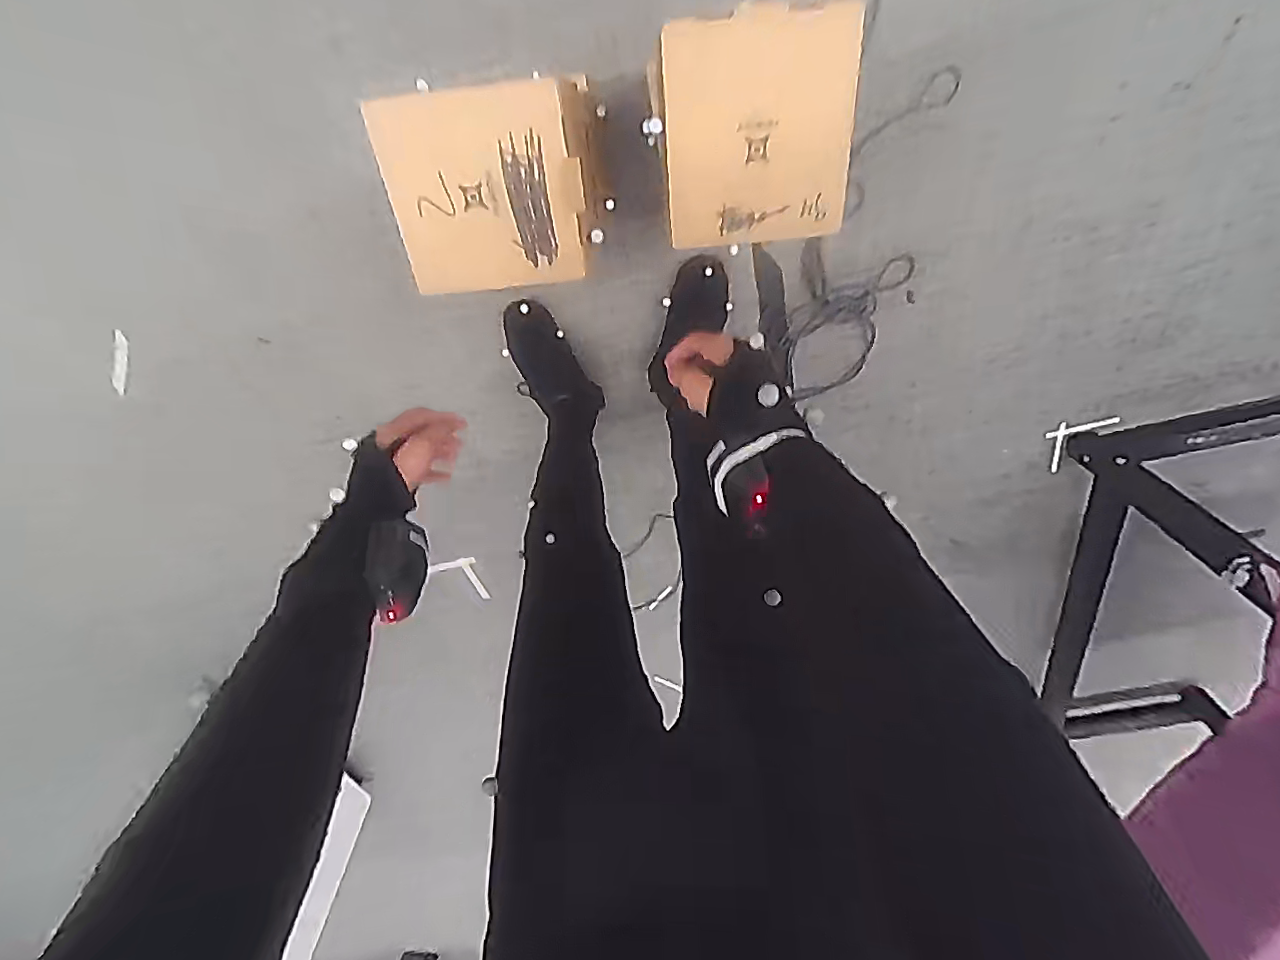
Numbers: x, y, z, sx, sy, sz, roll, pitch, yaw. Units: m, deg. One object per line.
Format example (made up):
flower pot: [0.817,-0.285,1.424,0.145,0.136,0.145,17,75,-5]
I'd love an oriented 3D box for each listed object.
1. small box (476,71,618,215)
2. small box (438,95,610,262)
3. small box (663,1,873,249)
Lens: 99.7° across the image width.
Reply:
small box: [-0.129,-0.501,0.829,0.168,0.176,0.179,-7,125,6]
small box: [-0.133,-0.395,0.704,0.179,0.176,0.168,-4,124,3]
small box: [0.111,-0.344,0.543,0.168,0.176,0.179,-3,123,3]
